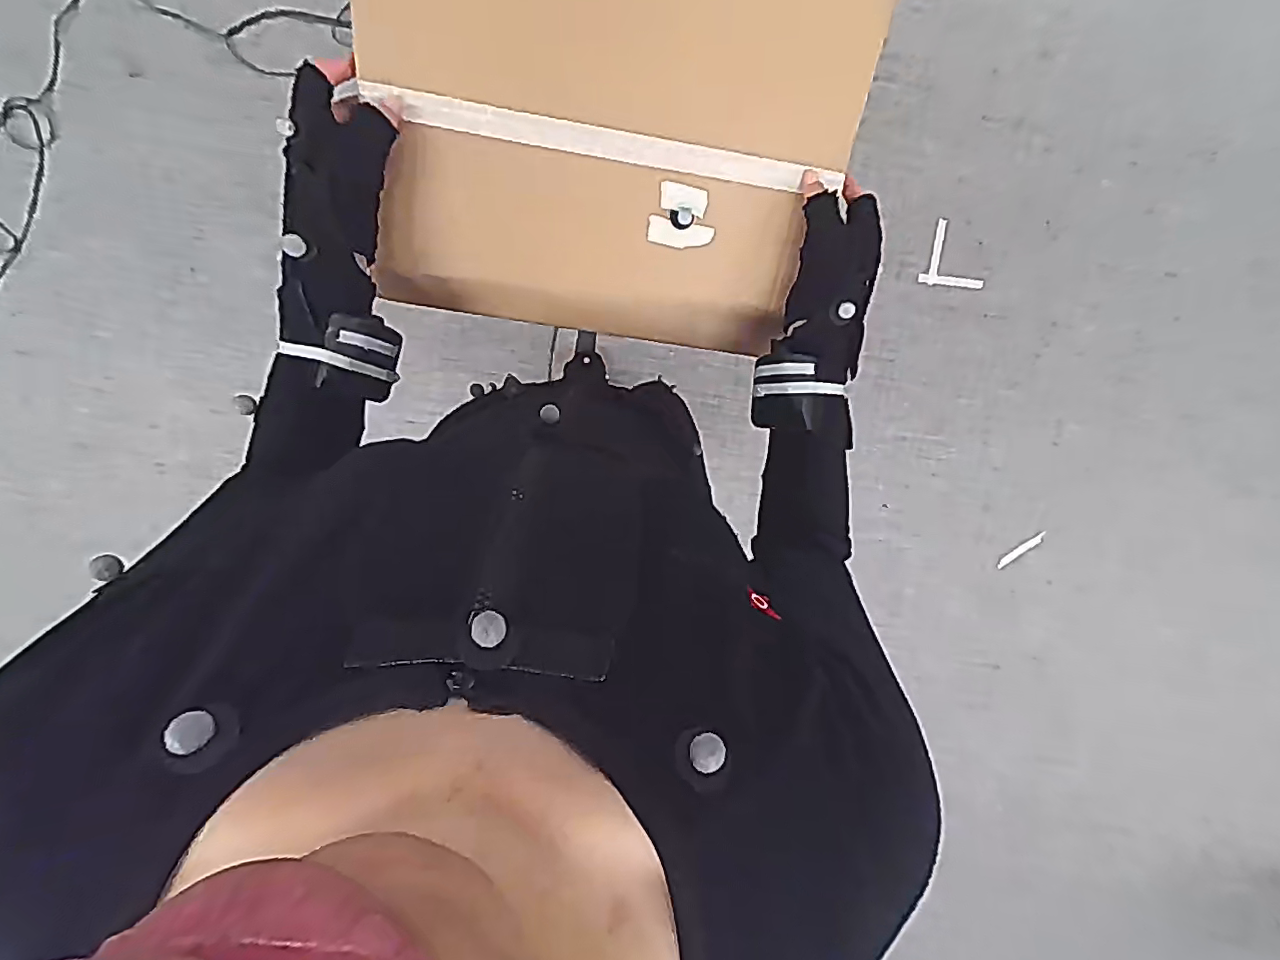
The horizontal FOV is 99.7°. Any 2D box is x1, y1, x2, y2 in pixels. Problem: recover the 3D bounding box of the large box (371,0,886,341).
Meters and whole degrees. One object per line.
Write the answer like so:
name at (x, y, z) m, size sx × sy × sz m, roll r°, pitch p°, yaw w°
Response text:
large box at (-0.029, -0.361, 0.590) m, size 0.408 × 0.320 × 0.320 m, roll 6°, pitch 118°, yaw -7°
